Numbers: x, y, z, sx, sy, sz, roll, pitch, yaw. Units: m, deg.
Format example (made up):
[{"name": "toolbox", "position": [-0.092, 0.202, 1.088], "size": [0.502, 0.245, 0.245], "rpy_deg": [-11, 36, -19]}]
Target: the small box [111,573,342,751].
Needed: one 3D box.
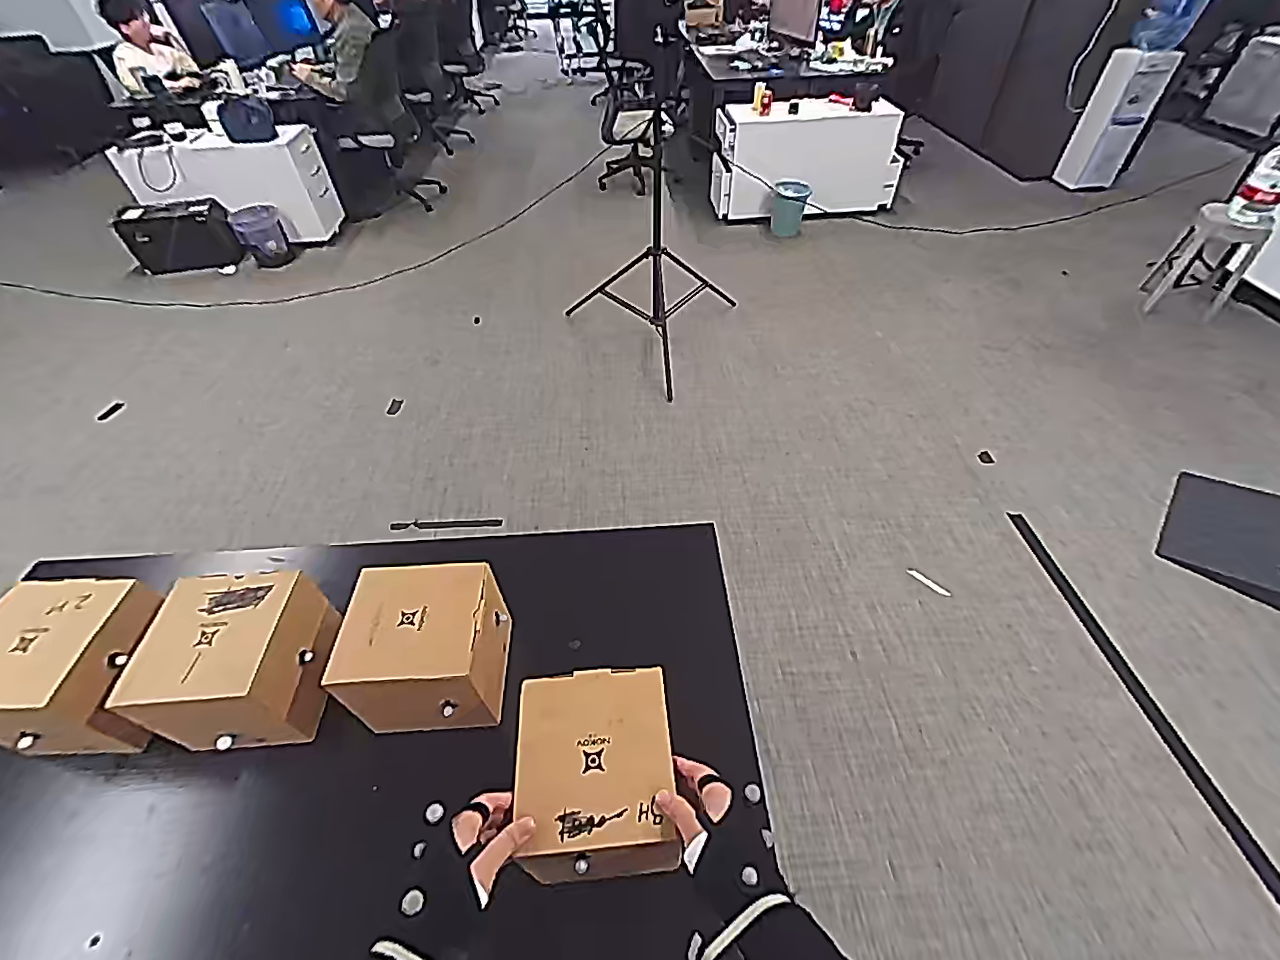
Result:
[{"name": "small box", "position": [-0.536, 0.249, 0.741], "size": [0.168, 0.176, 0.179], "rpy_deg": [-4, 48, -2]}]

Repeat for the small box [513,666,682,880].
[{"name": "small box", "position": [-0.045, 0.342, 0.633], "size": [0.168, 0.176, 0.179], "rpy_deg": [-5, 47, -2]}]

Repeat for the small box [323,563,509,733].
[{"name": "small box", "position": [-0.288, 0.234, 0.749], "size": [0.179, 0.176, 0.168], "rpy_deg": [-4, 45, 0]}]

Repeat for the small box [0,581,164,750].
[{"name": "small box", "position": [-0.760, 0.258, 0.741], "size": [0.168, 0.176, 0.179], "rpy_deg": [-1, 46, 0]}]
